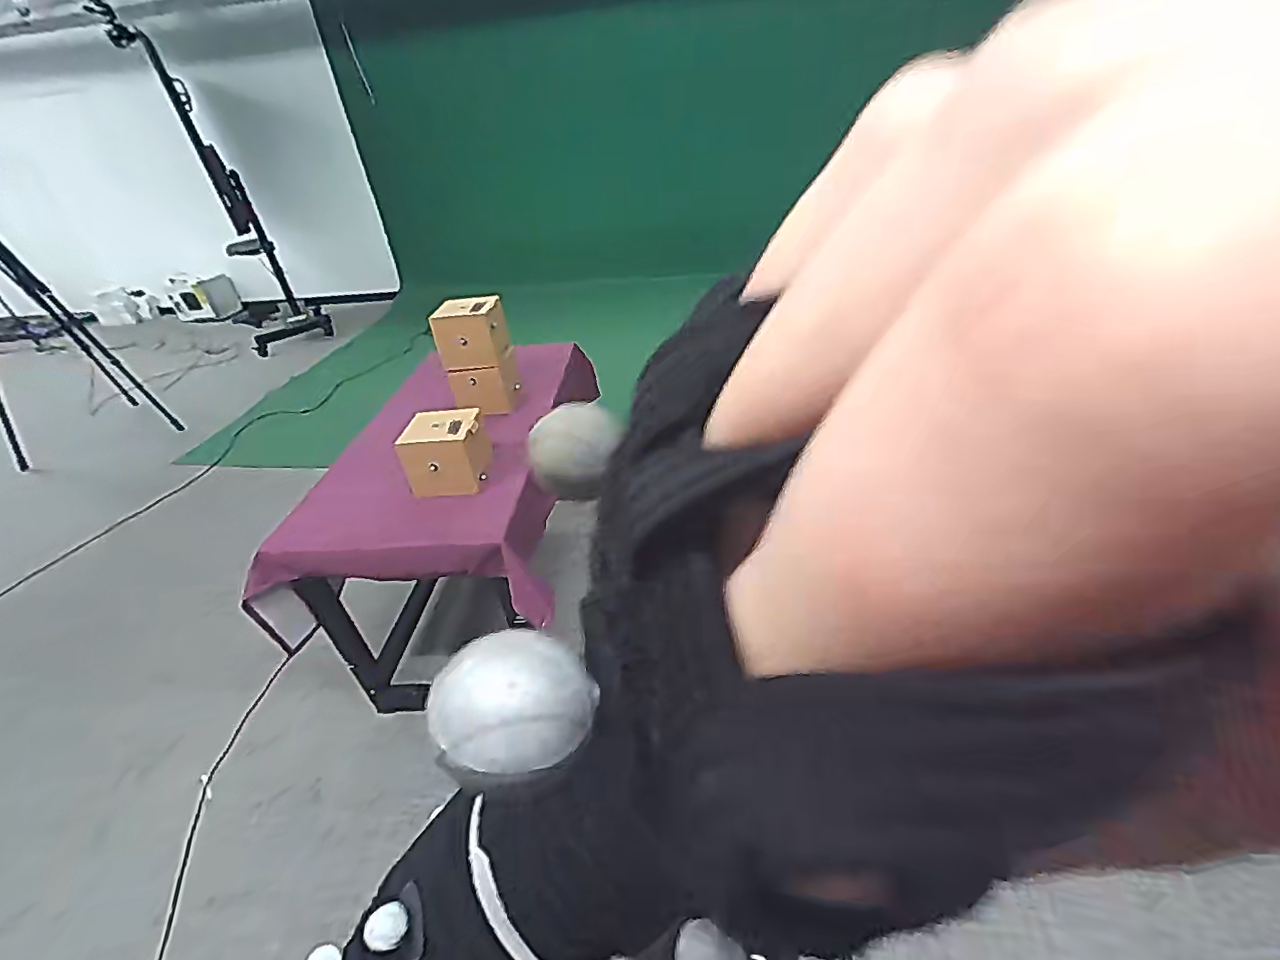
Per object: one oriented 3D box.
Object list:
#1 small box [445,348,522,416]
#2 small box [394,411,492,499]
[{"bbox_3d":[-0.506,-0.319,1.778,0.179,0.176,0.168,-2,37,7],"label":"small box"},{"bbox_3d":[-0.507,-0.065,1.427,0.179,0.176,0.168,-5,35,5],"label":"small box"}]
